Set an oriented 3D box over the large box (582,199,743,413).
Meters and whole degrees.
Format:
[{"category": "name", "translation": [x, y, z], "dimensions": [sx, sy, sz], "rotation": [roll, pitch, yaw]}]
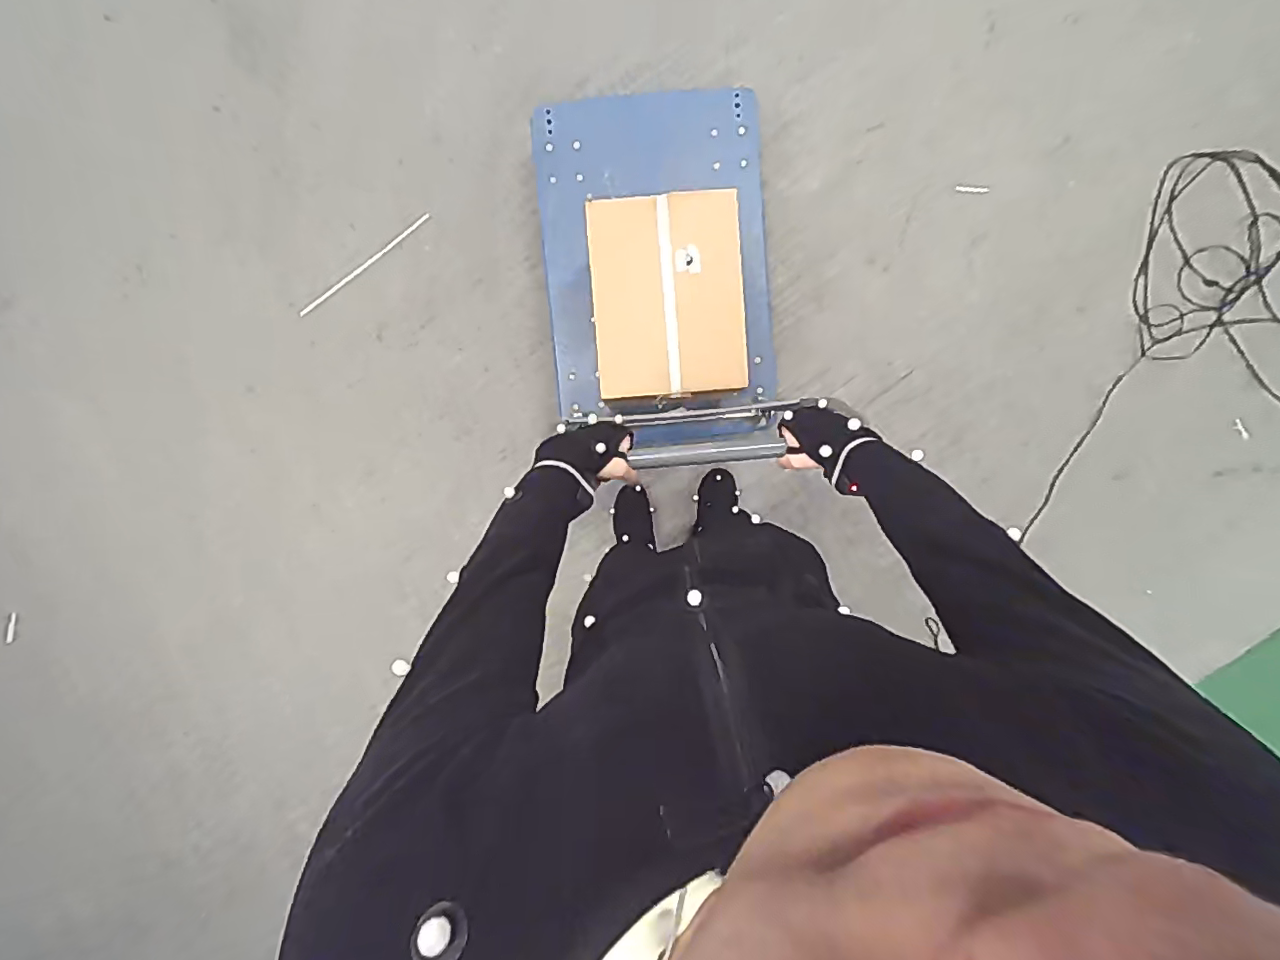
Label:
[{"category": "large box", "translation": [0.051, -0.383, 1.284], "dimensions": [0.320, 0.320, 0.408], "rotation": [-5, 93, 0]}]
